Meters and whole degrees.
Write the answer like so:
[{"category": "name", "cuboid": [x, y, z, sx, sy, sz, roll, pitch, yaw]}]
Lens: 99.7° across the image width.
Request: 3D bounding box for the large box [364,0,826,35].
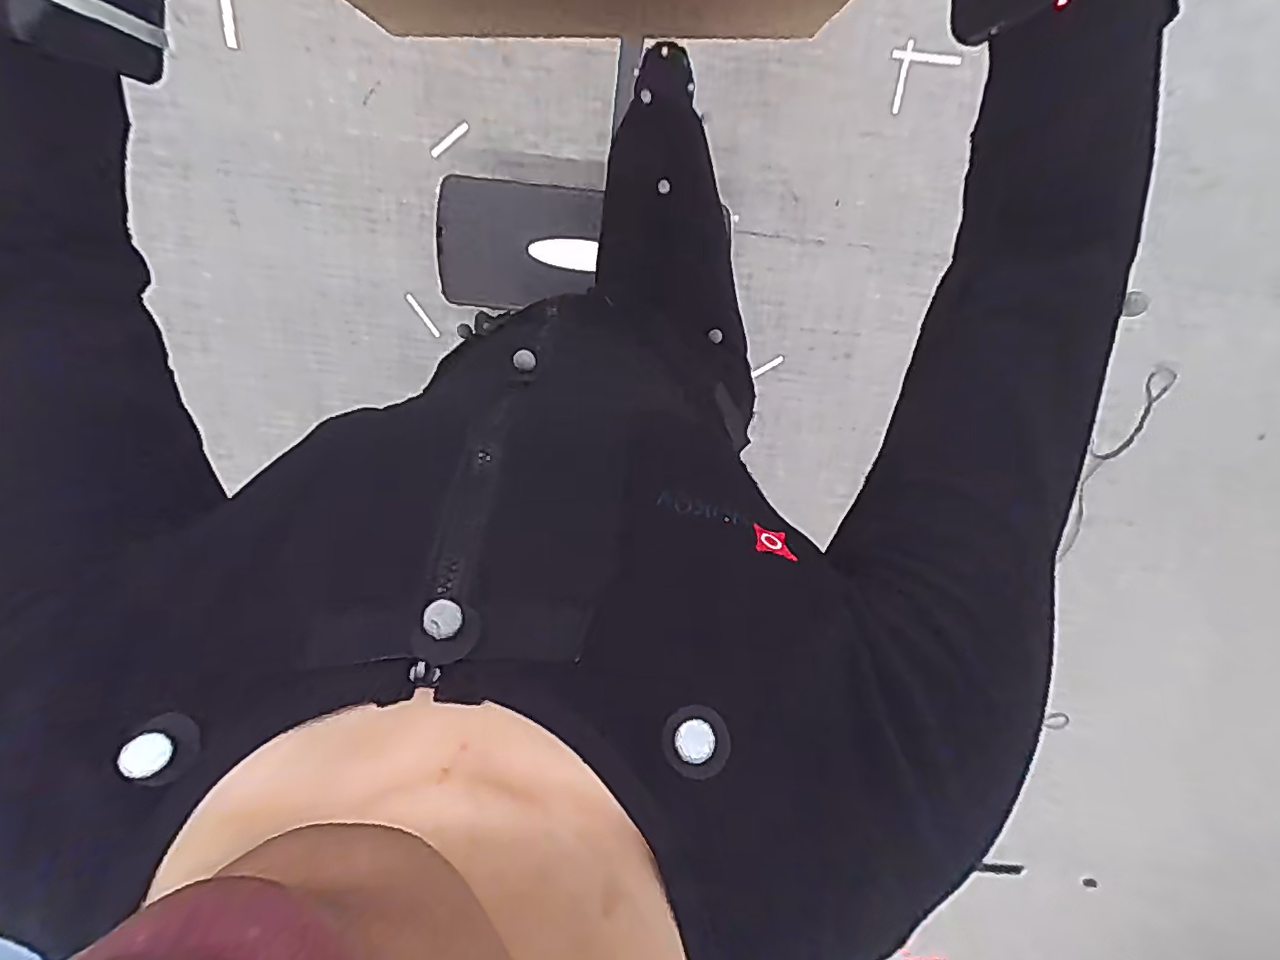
[{"category": "large box", "cuboid": [-0.035, -0.503, 0.317, 0.408, 0.320, 0.320, -1, 117, -1]}]
